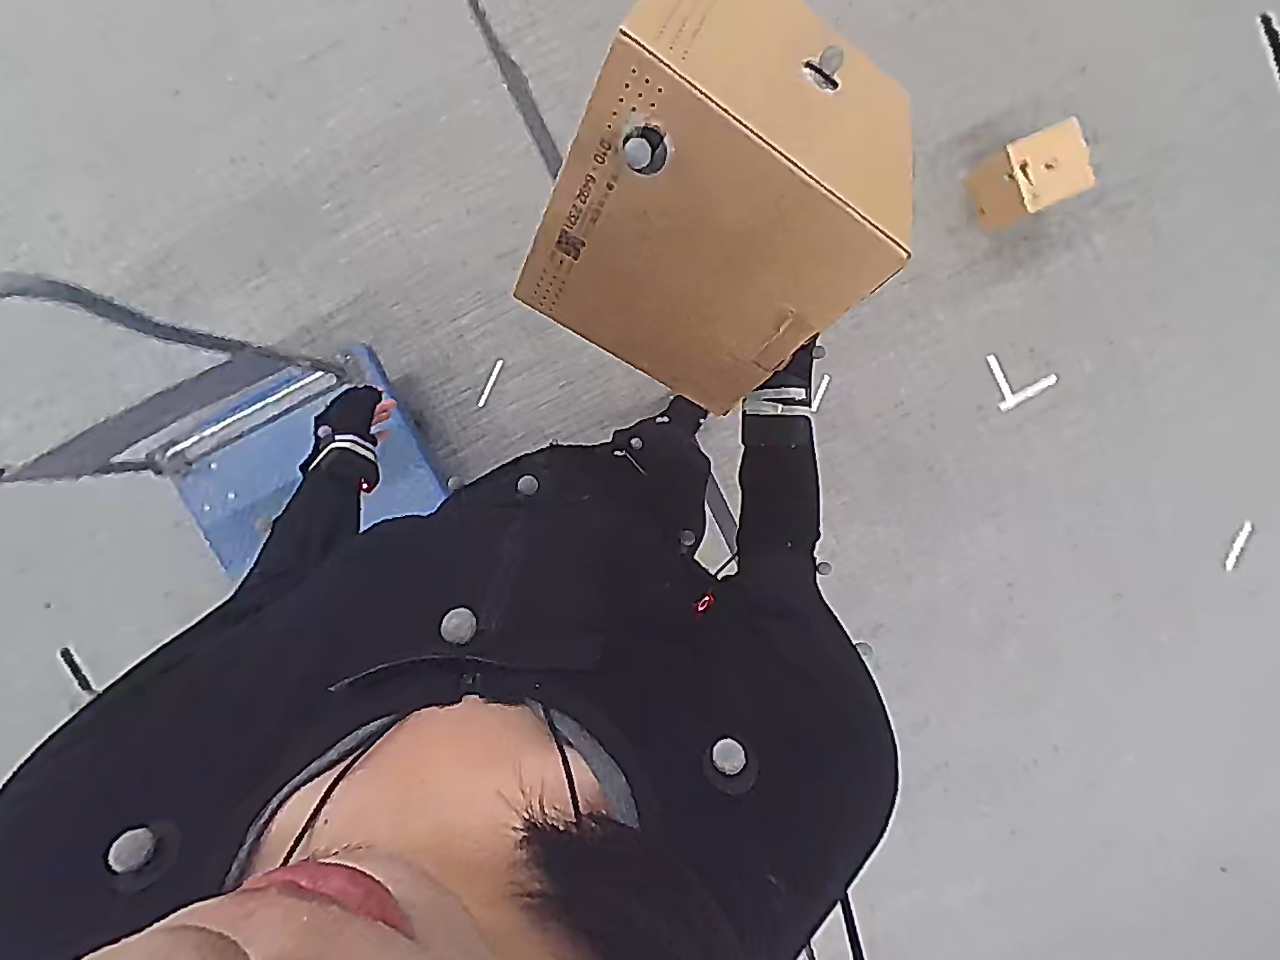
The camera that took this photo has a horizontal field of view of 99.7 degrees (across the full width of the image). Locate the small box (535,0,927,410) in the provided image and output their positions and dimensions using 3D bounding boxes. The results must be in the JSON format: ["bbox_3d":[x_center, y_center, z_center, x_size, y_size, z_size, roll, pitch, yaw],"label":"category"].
[{"bbox_3d":[0.053,-0.184,0.346,0.176,0.168,0.179,28,57,-16],"label":"small box"}]

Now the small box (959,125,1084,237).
[{"bbox_3d":[0.966,-0.754,1.379,0.179,0.176,0.168,-23,97,1],"label":"small box"}]
